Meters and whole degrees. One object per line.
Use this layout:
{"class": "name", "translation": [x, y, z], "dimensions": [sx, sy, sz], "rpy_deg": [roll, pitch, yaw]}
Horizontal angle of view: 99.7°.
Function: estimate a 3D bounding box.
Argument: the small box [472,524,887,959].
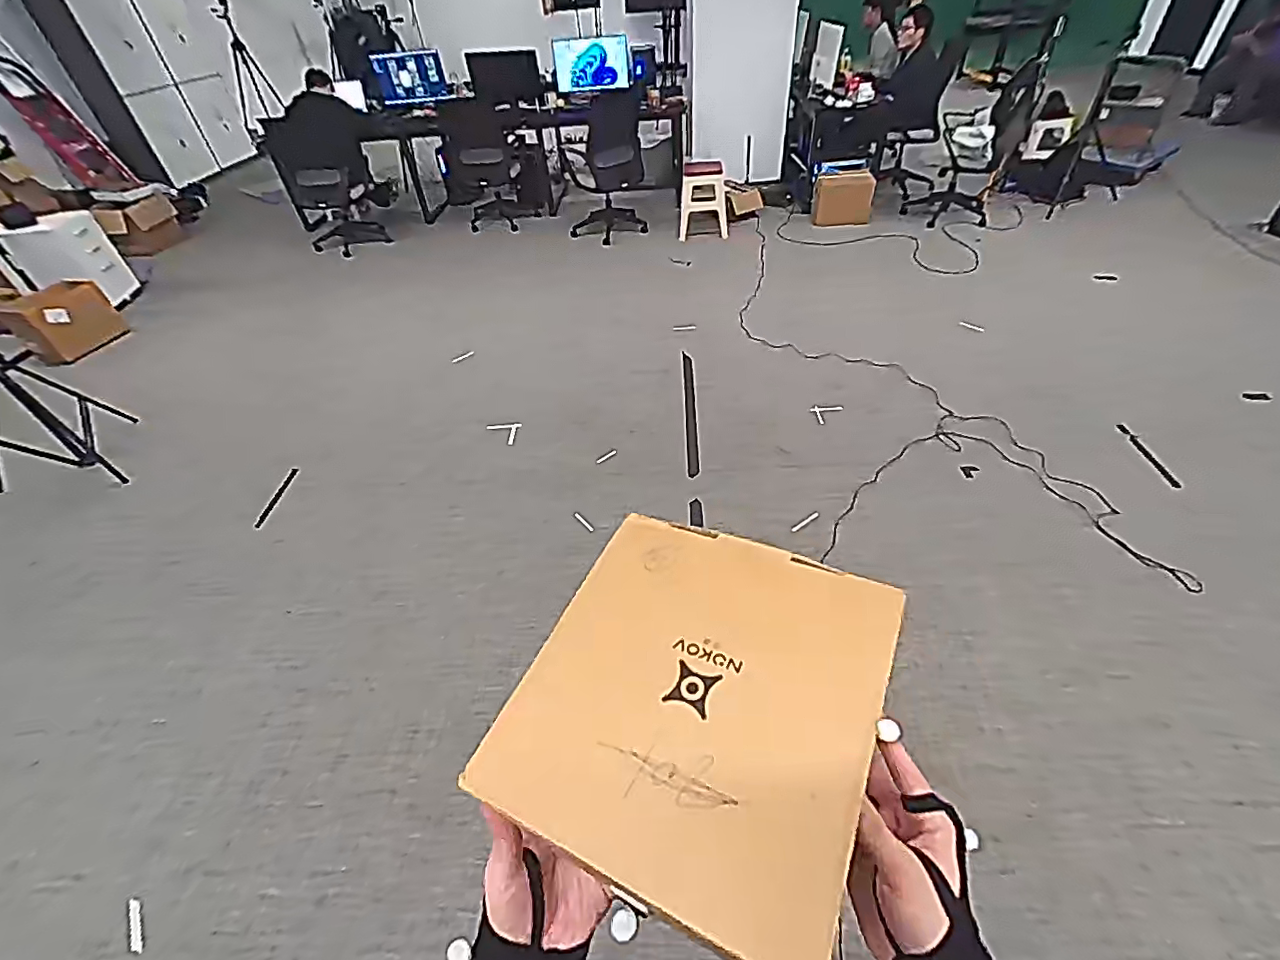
{"class": "small box", "translation": [0.037, 0.161, 0.332], "dimensions": [0.168, 0.176, 0.179], "rpy_deg": [14, 51, 24]}
